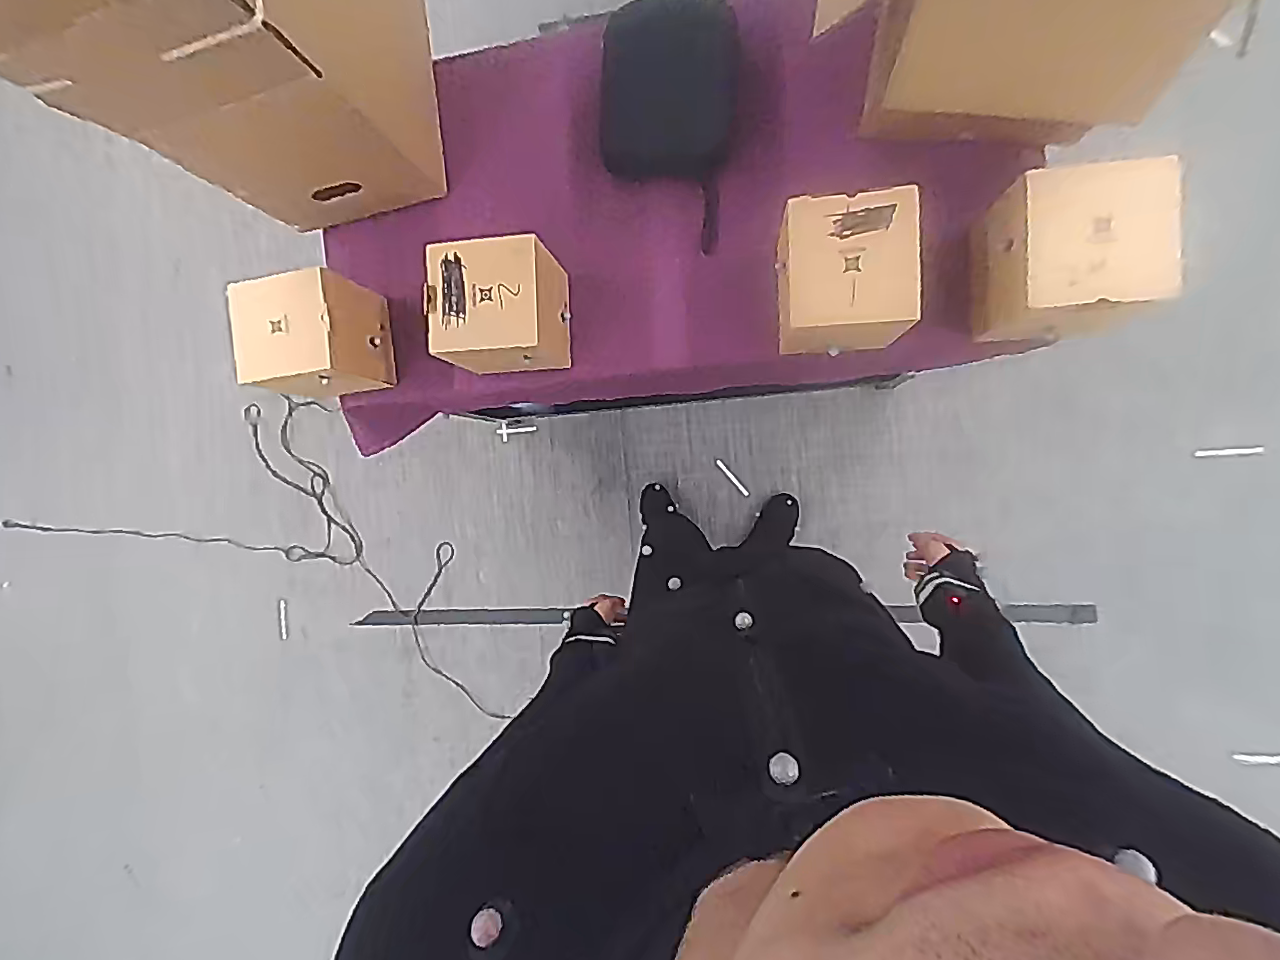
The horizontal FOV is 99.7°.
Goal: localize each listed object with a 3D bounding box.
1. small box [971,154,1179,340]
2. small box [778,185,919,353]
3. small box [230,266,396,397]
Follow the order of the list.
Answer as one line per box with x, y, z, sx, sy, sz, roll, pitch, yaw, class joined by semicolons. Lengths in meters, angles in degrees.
0.571;-0.301;0.734;0.168;0.176;0.179;-1;90;11;small box
0.291;-0.293;0.787;0.168;0.176;0.179;-1;91;10;small box
-0.559;-0.246;0.940;0.179;0.176;0.168;-7;89;9;small box
